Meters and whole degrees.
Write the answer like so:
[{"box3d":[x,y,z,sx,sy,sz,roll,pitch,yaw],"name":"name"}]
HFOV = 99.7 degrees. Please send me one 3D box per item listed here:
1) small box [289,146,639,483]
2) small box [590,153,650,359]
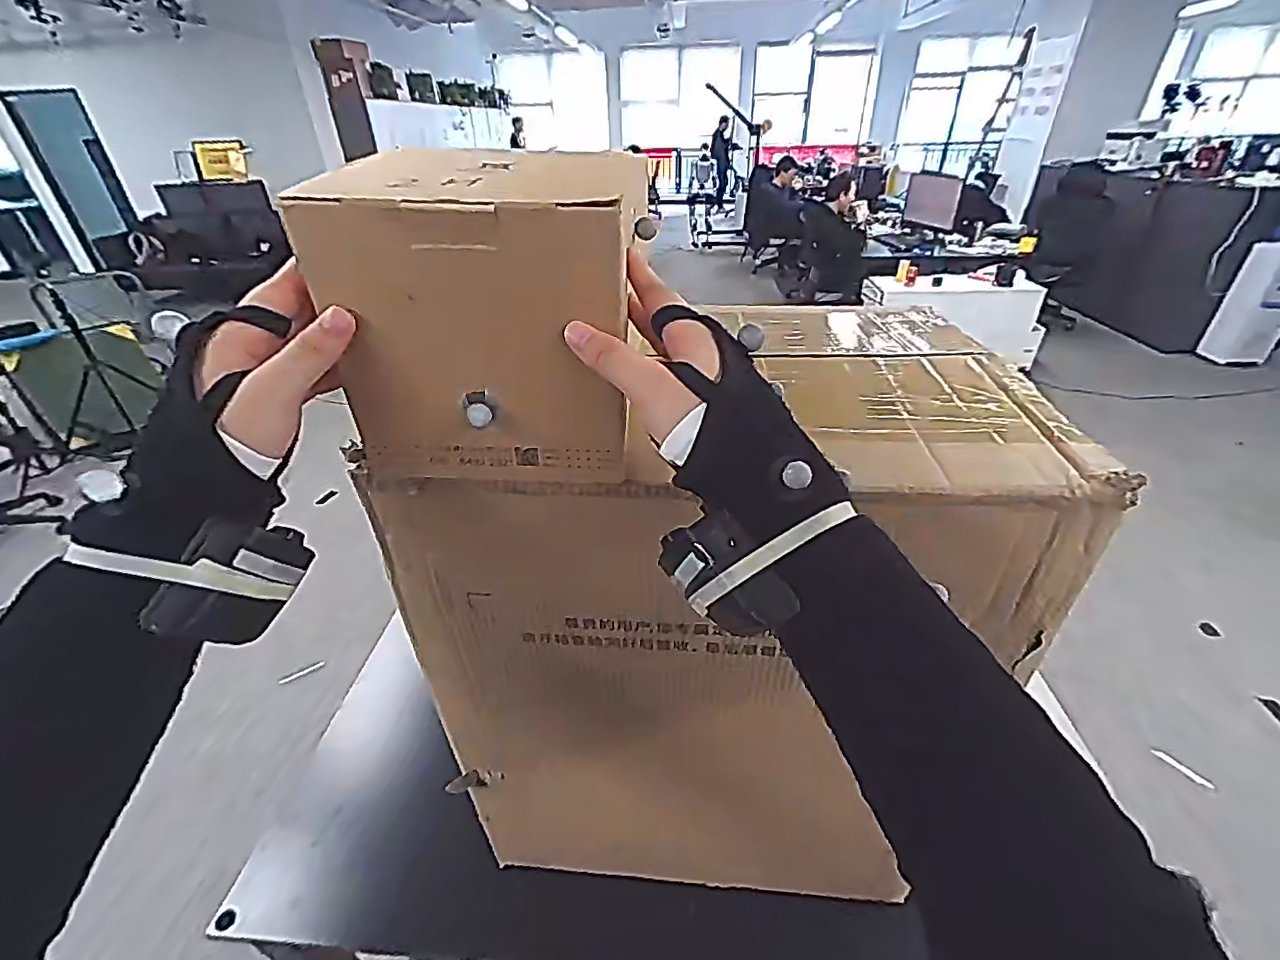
[{"box3d":[-0.087,-0.118,0.370,0.168,0.176,0.179,1,39,1],"name":"small box"},{"box3d":[-0.084,-0.215,0.523,0.179,0.176,0.168,3,32,4],"name":"small box"}]
